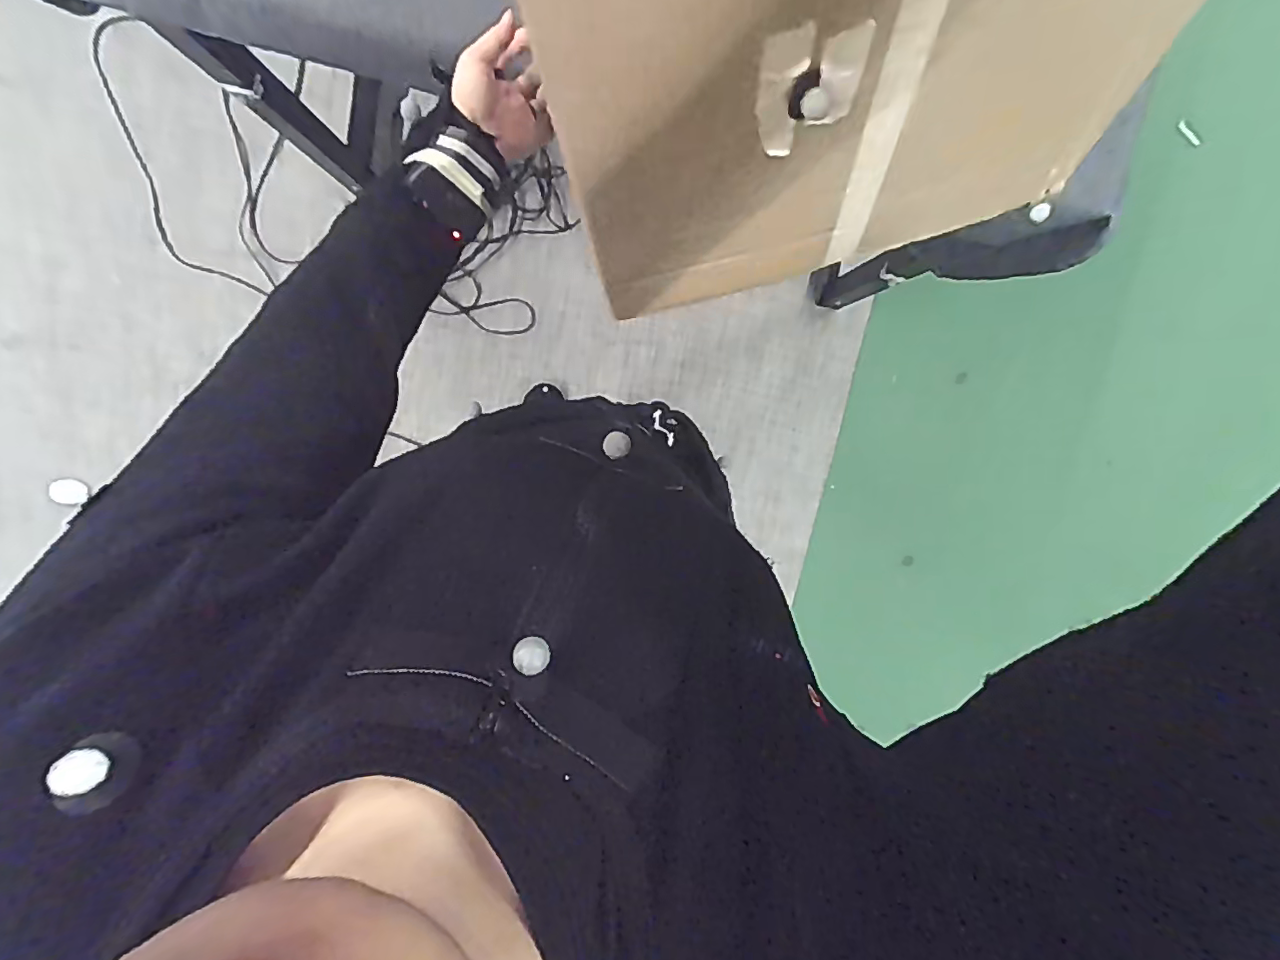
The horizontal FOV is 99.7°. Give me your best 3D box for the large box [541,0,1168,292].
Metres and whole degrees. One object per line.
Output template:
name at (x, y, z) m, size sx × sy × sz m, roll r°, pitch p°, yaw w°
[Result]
large box at (0.077, -0.368, 0.235) m, size 0.320 × 0.408 × 0.320 m, roll -16°, pitch 73°, yaw 2°
